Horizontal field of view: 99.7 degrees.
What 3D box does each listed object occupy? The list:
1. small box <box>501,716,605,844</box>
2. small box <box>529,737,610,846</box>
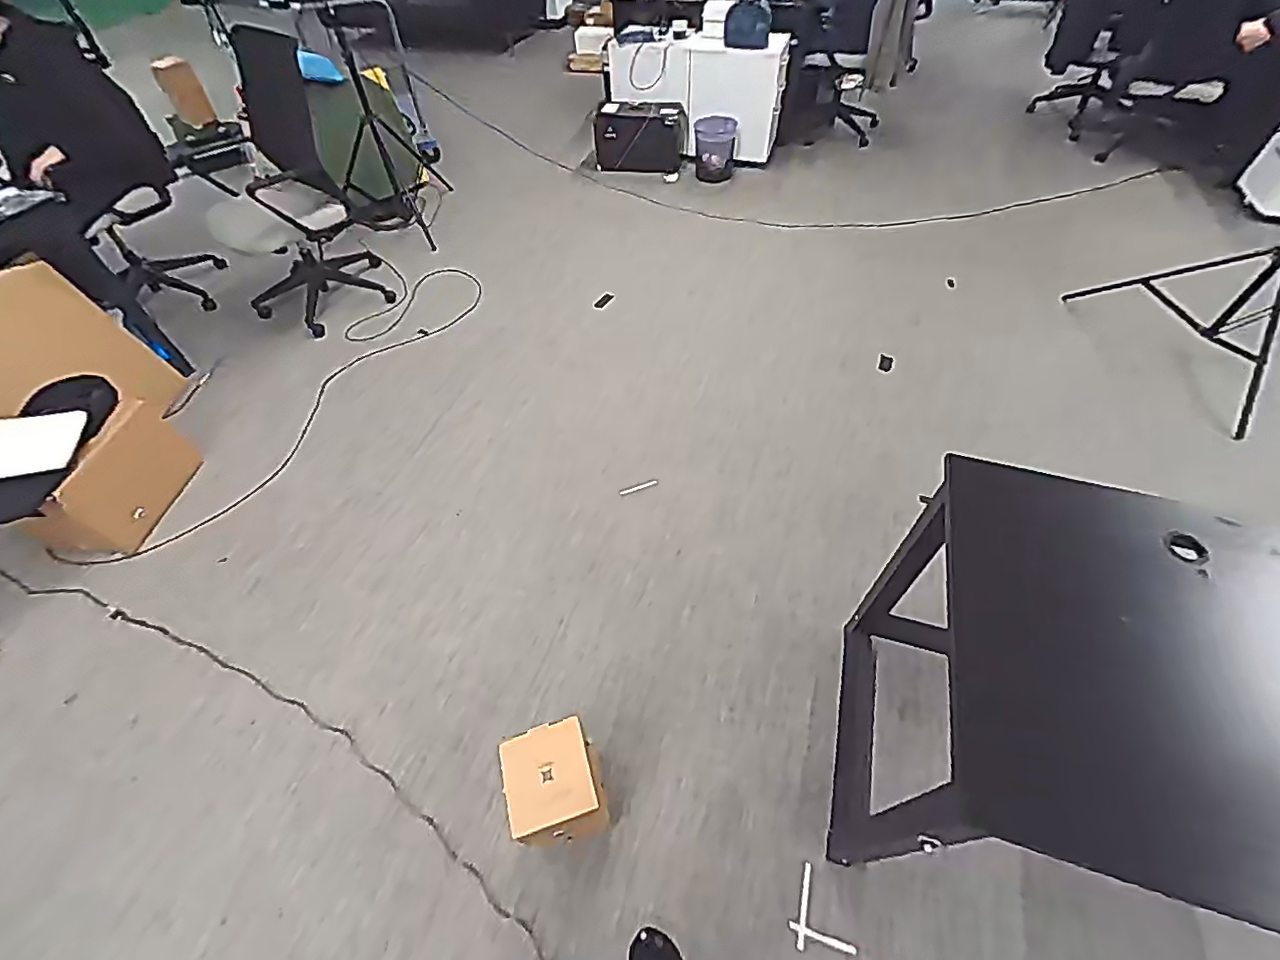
[{"bbox_3d":[-0.176,0.619,1.112,0.168,0.176,0.179,-16,54,-9],"label":"small box"},{"bbox_3d":[-0.168,0.719,1.240,0.168,0.176,0.179,-12,51,-8],"label":"small box"}]
